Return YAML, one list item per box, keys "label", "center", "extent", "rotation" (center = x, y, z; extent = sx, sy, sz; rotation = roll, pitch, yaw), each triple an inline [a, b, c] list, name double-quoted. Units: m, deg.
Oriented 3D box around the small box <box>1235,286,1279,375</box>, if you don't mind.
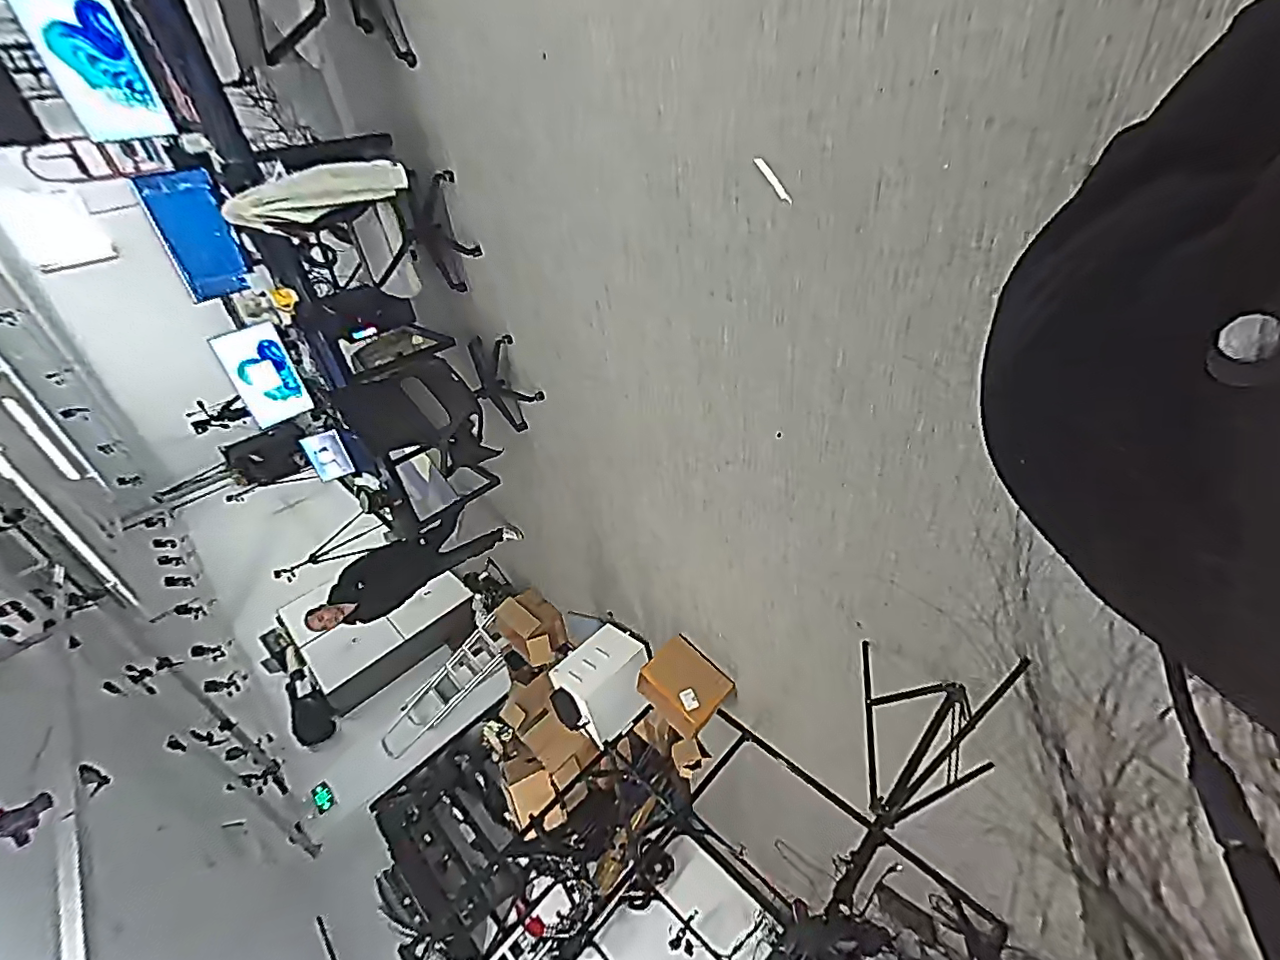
- label: "small box"
  center: [0.927, -0.212, 0.680]
  extent: [0.179, 0.176, 0.168]
  rotation: [33, 141, 33]
